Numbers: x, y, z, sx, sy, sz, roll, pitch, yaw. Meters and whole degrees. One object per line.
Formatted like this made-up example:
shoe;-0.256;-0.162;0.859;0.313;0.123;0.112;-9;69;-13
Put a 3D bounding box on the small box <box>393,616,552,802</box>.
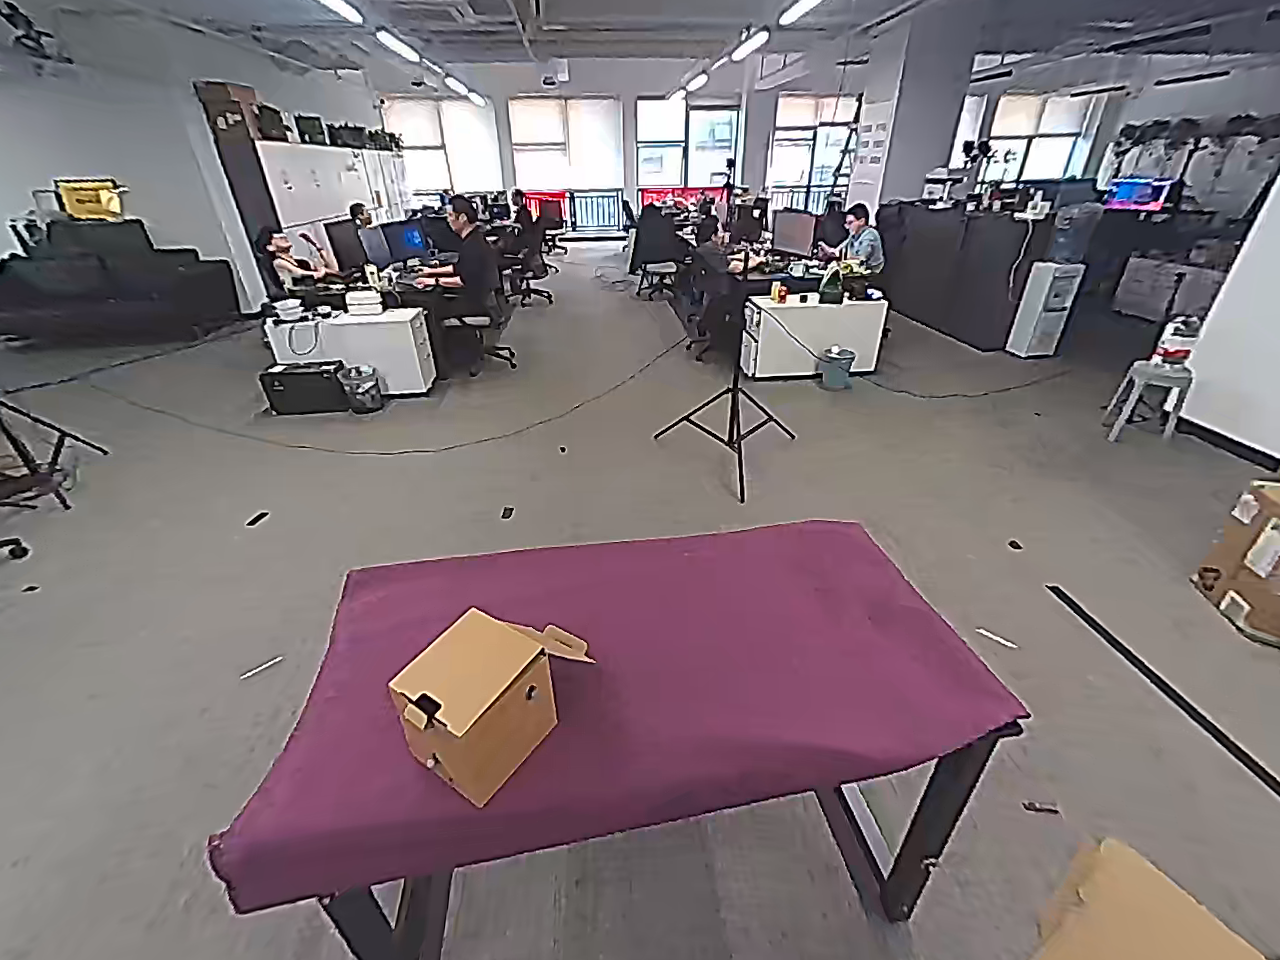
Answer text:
small box;-0.256;0.359;0.865;0.168;0.176;0.179;16;34;30
